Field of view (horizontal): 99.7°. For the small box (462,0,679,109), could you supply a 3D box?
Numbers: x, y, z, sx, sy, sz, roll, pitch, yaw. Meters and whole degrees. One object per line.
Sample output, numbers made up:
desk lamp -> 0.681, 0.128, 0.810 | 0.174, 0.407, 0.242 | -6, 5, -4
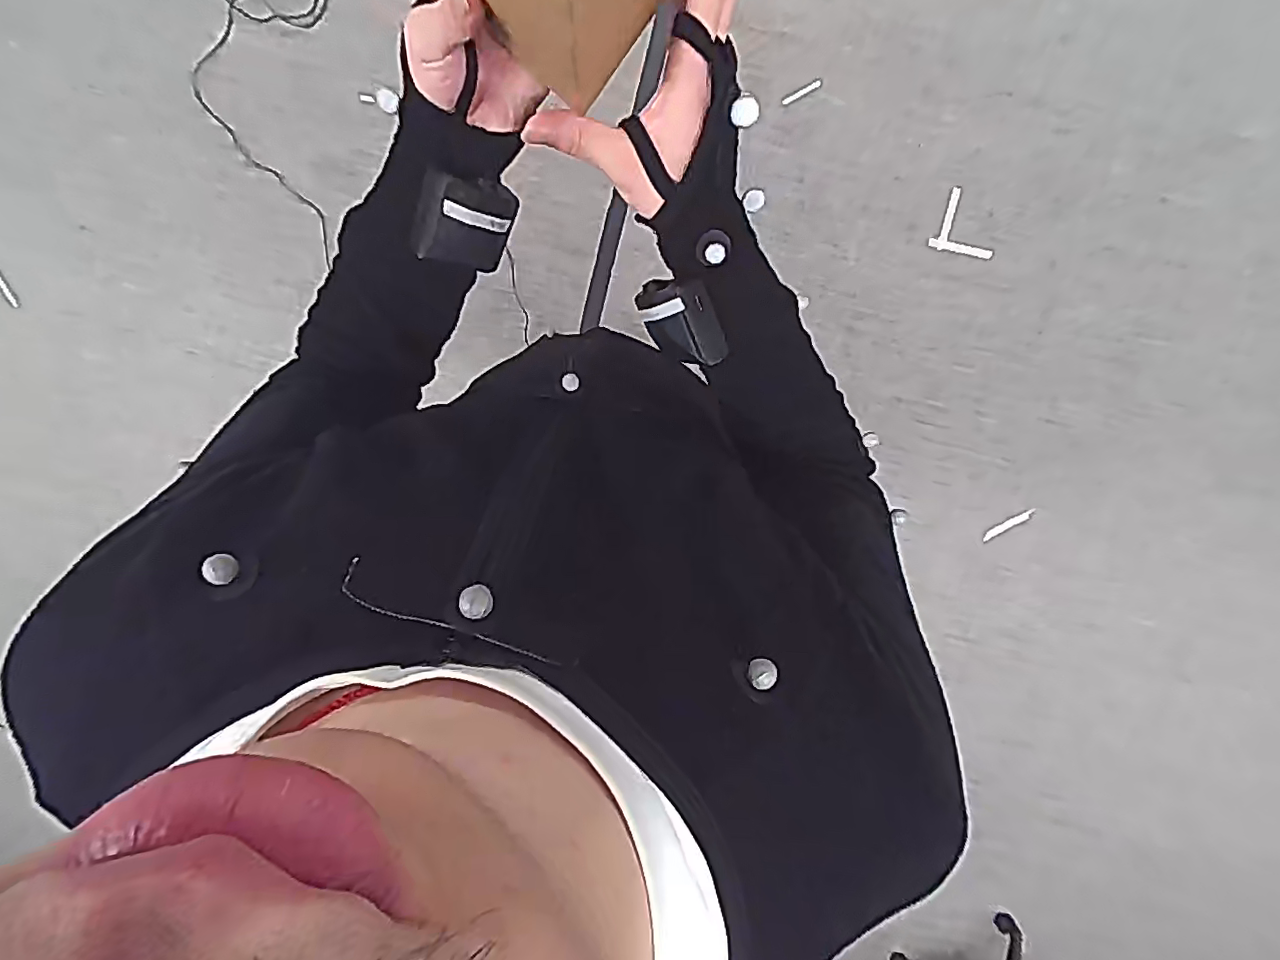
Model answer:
small box -> -0.029, -0.291, 0.197 | 0.168, 0.176, 0.179 | 37, 103, -15
